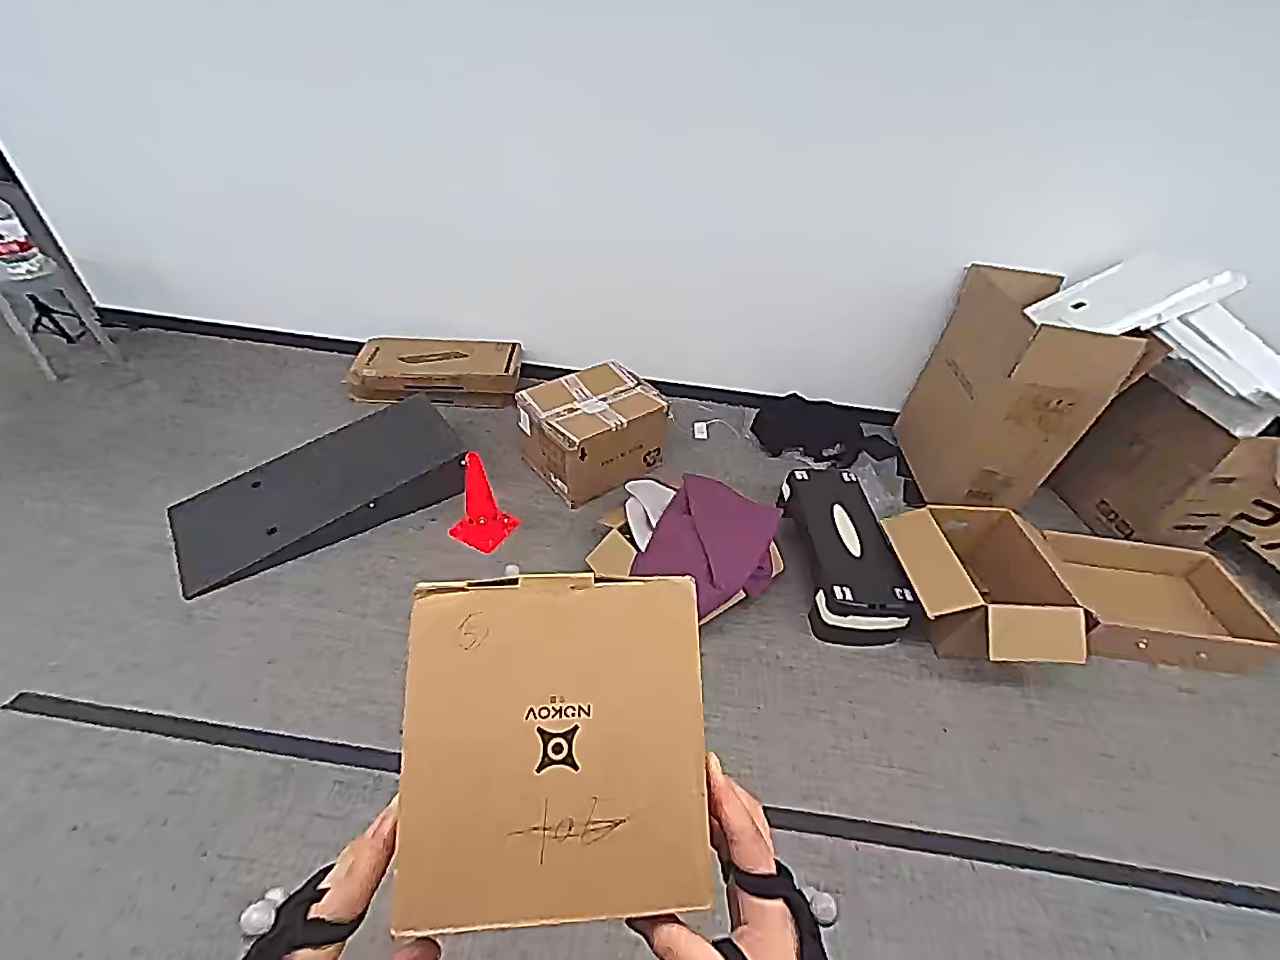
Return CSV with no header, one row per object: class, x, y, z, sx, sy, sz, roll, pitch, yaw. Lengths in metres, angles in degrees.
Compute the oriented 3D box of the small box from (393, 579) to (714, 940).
small box,-0.051,0.166,0.374,0.168,0.176,0.179,0,75,-5
